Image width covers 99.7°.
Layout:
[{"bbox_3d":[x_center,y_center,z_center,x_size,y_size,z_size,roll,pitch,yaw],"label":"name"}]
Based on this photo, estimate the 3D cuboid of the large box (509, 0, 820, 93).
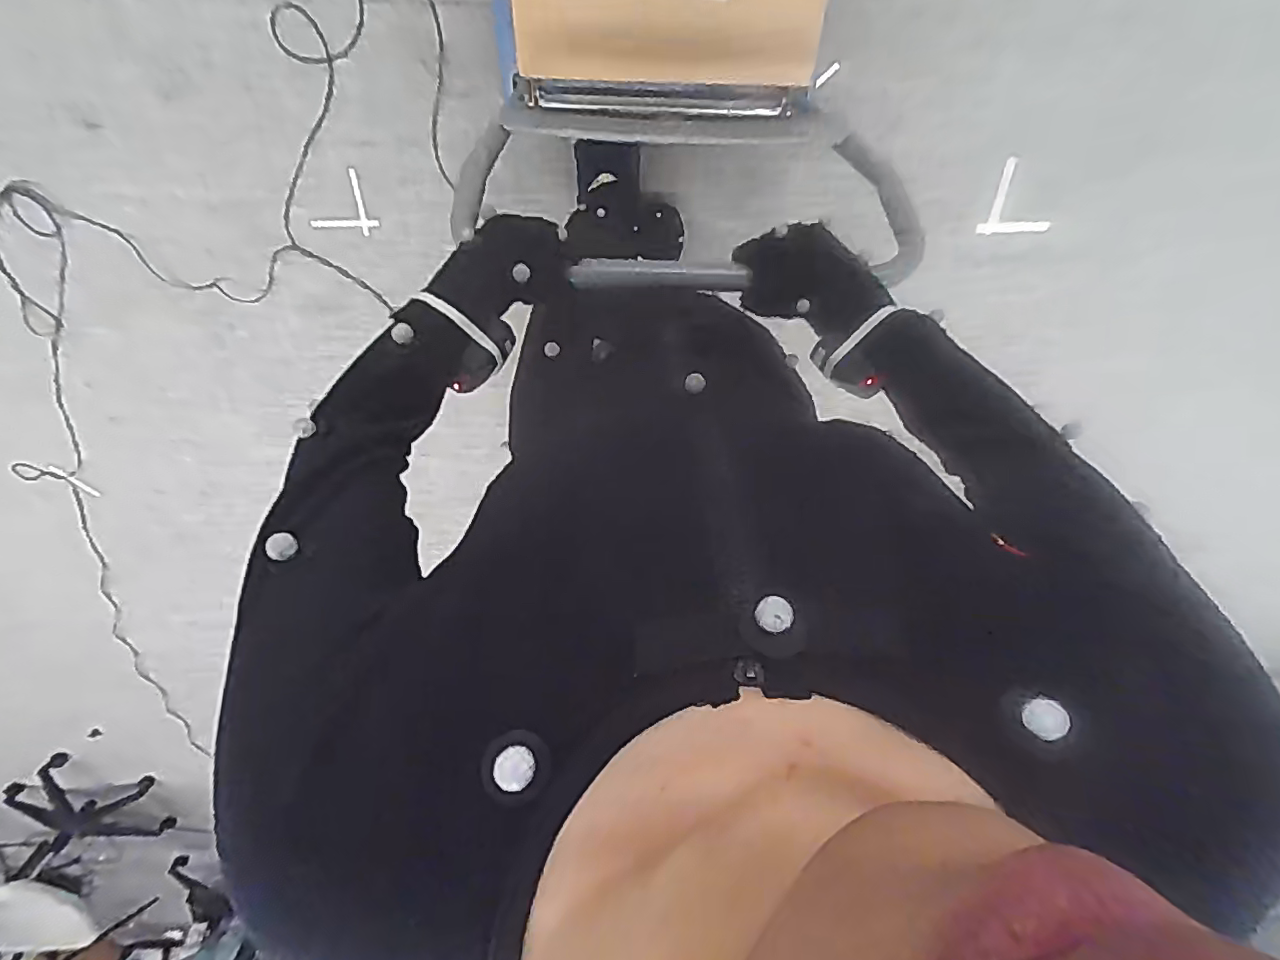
[{"bbox_3d":[0.025,-0.750,0.755,0.408,0.320,0.320,-1,132,-3],"label":"large box"}]
